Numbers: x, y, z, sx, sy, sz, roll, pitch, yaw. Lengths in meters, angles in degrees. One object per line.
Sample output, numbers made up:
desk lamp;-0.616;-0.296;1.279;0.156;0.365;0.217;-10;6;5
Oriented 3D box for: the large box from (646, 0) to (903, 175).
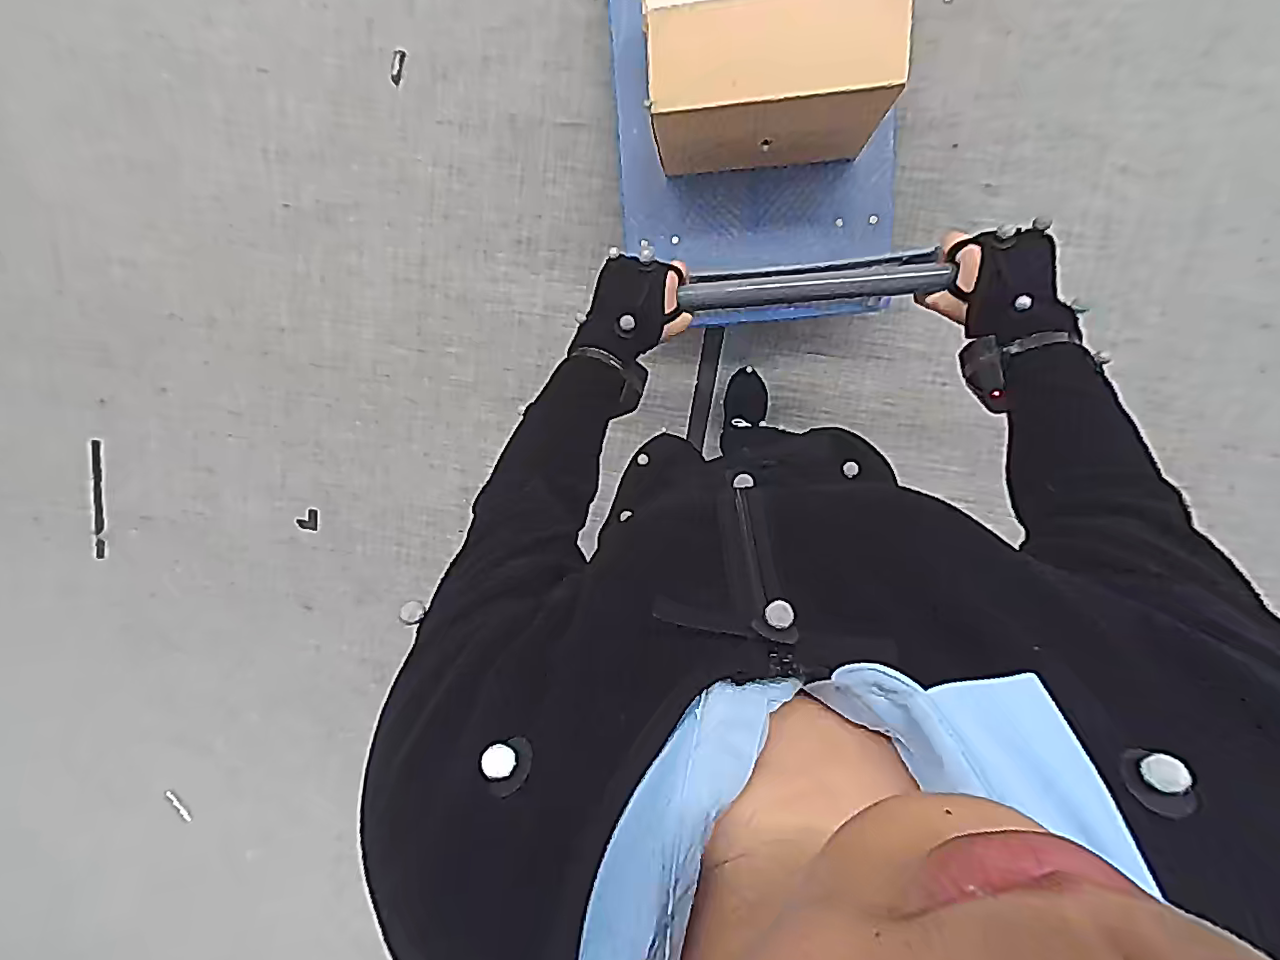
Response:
large box;0.230;-0.799;0.999;0.408;0.320;0.320;-2;100;9
